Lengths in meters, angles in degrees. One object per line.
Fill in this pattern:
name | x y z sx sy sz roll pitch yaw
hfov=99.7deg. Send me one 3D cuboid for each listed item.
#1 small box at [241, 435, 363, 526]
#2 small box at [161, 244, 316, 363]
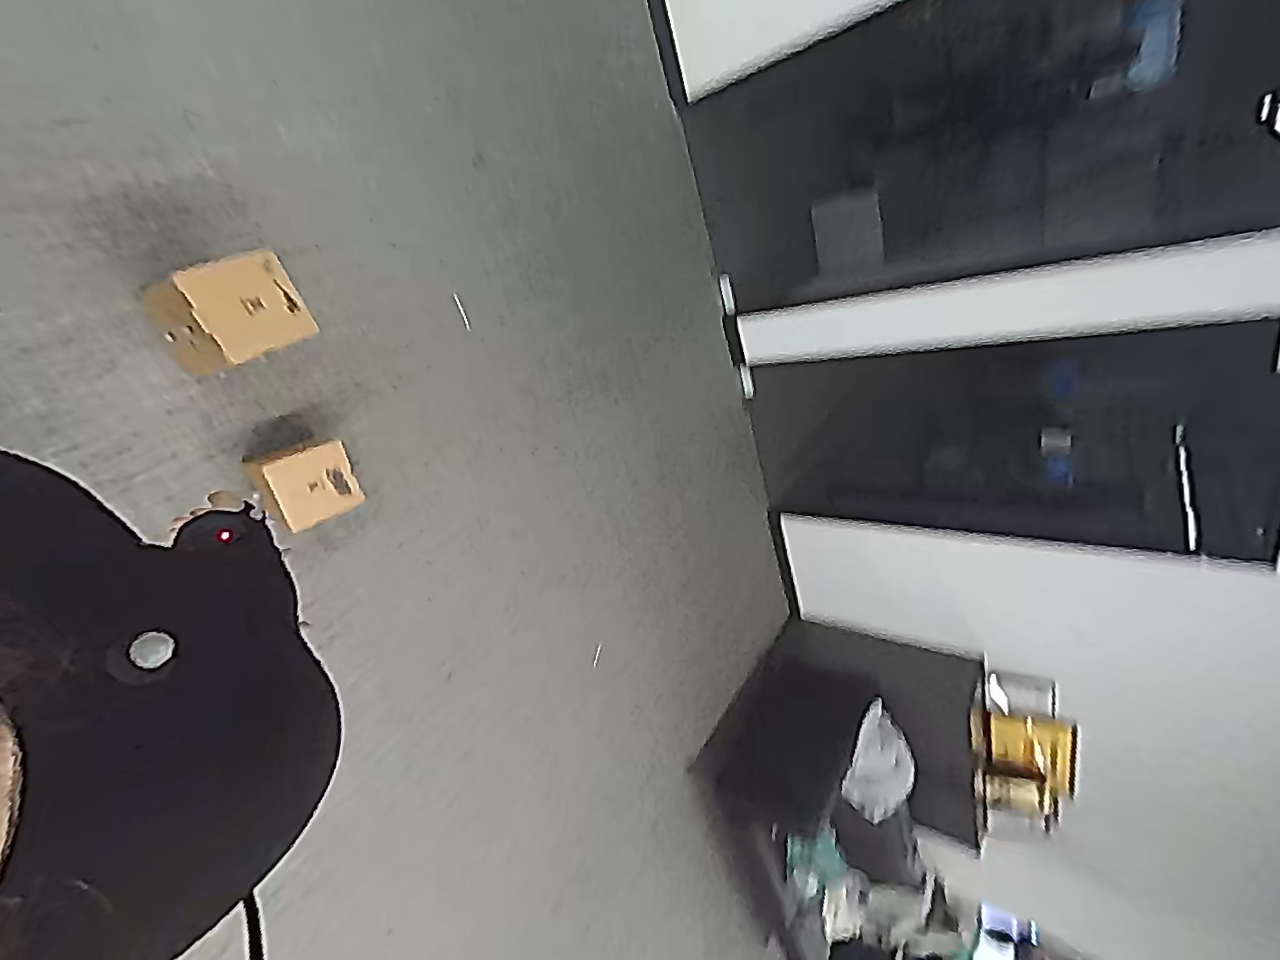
small box | -0.817 -0.008 1.308 0.179 0.176 0.168 -32 118 -42
small box | -0.785 -0.338 1.054 0.179 0.176 0.168 -42 124 -38
